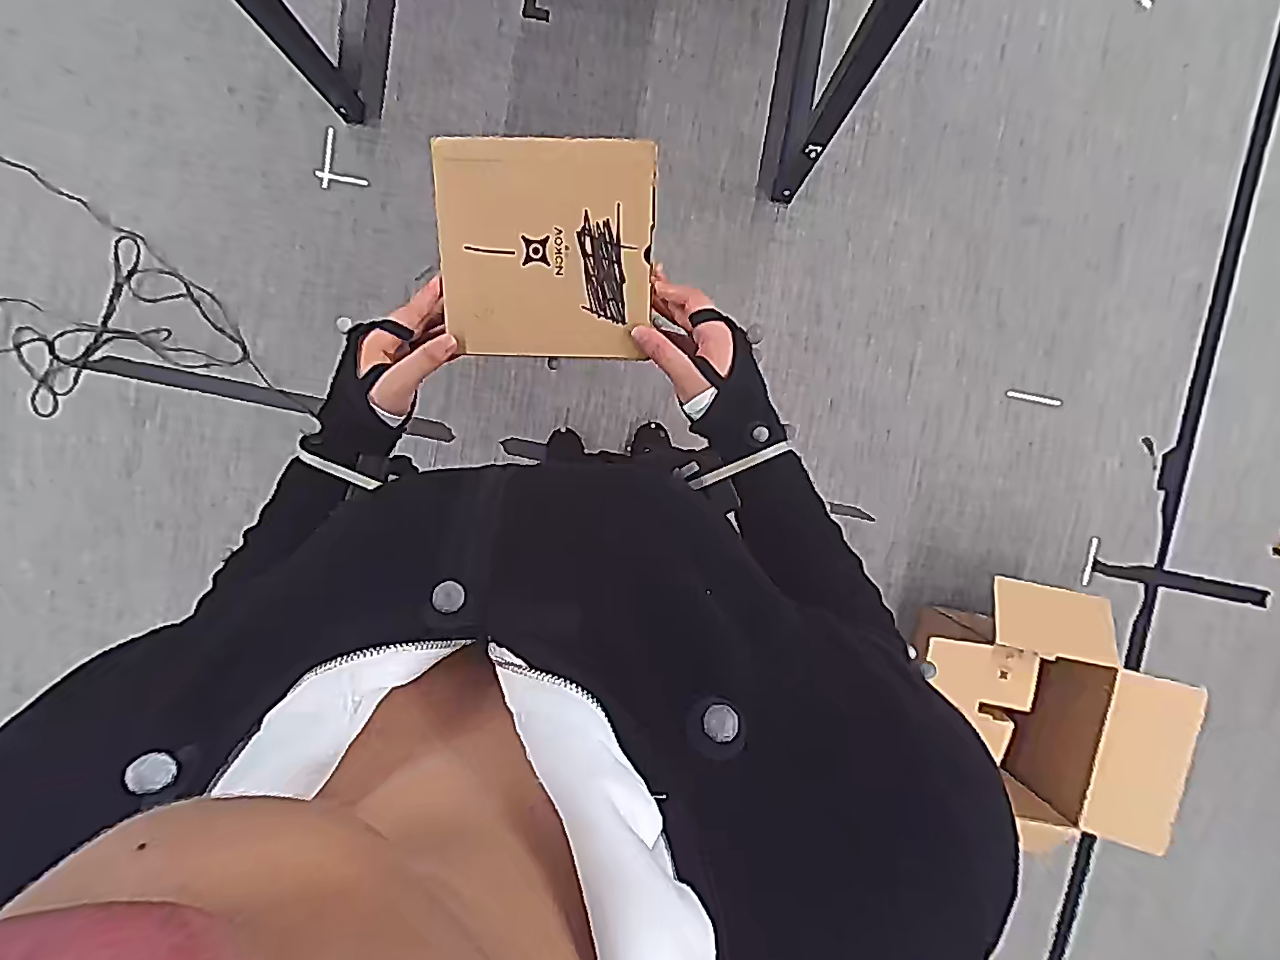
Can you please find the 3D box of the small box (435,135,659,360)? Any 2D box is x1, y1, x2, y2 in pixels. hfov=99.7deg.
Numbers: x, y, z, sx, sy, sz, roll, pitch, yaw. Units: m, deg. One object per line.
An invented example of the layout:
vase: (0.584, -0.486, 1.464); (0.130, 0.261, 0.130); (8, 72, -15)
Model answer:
small box: (-0.075, -0.207, 0.516); (0.179, 0.176, 0.168); (2, 106, 1)
